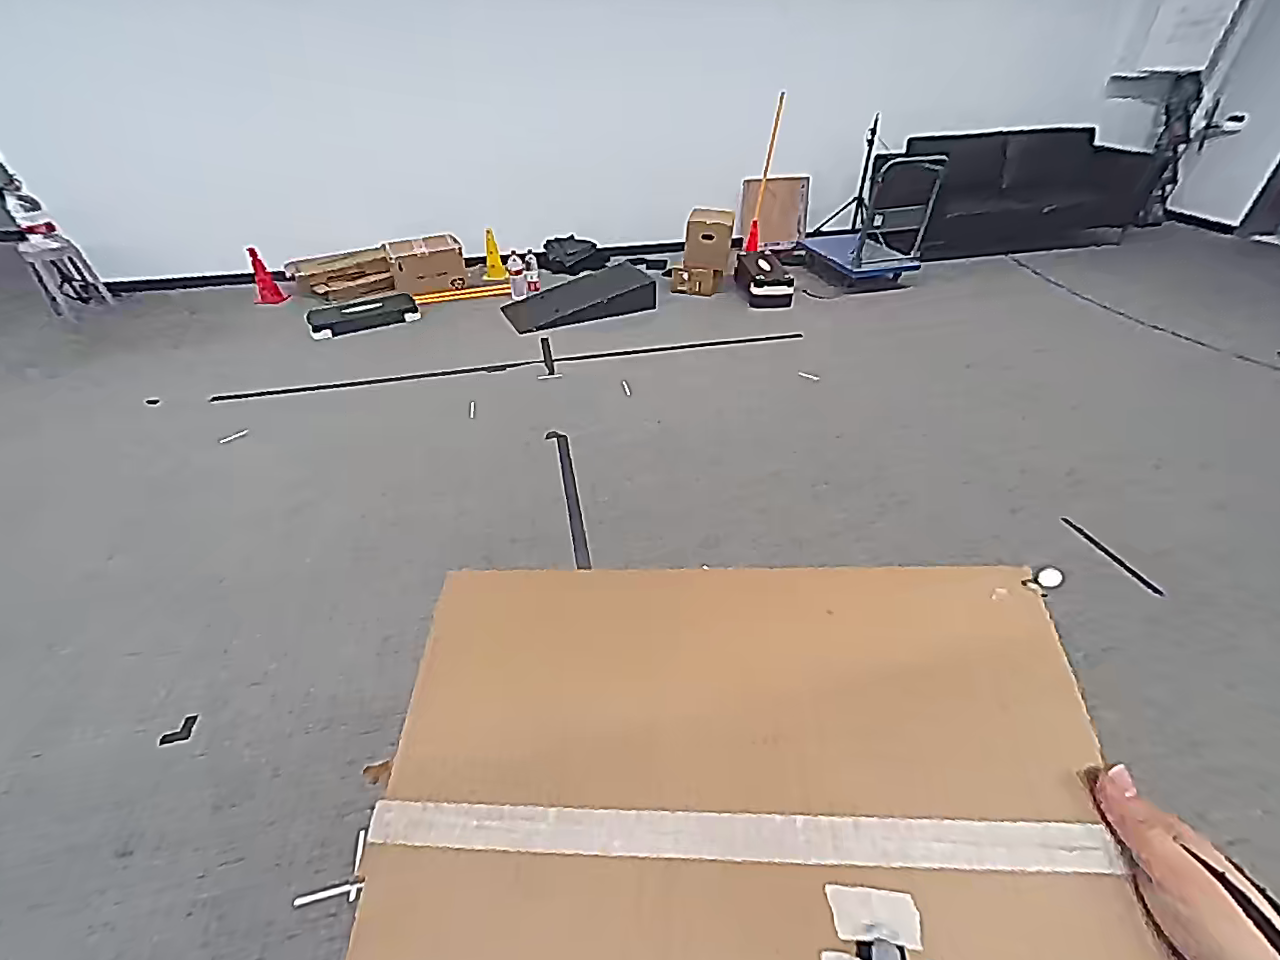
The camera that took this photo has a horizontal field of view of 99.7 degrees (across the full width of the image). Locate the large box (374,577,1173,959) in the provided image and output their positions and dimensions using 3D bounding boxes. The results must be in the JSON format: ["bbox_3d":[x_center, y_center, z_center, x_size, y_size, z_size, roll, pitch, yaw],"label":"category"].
[{"bbox_3d":[0.070,0.284,0.421,0.408,0.320,0.320,-2,57,5],"label":"large box"}]
